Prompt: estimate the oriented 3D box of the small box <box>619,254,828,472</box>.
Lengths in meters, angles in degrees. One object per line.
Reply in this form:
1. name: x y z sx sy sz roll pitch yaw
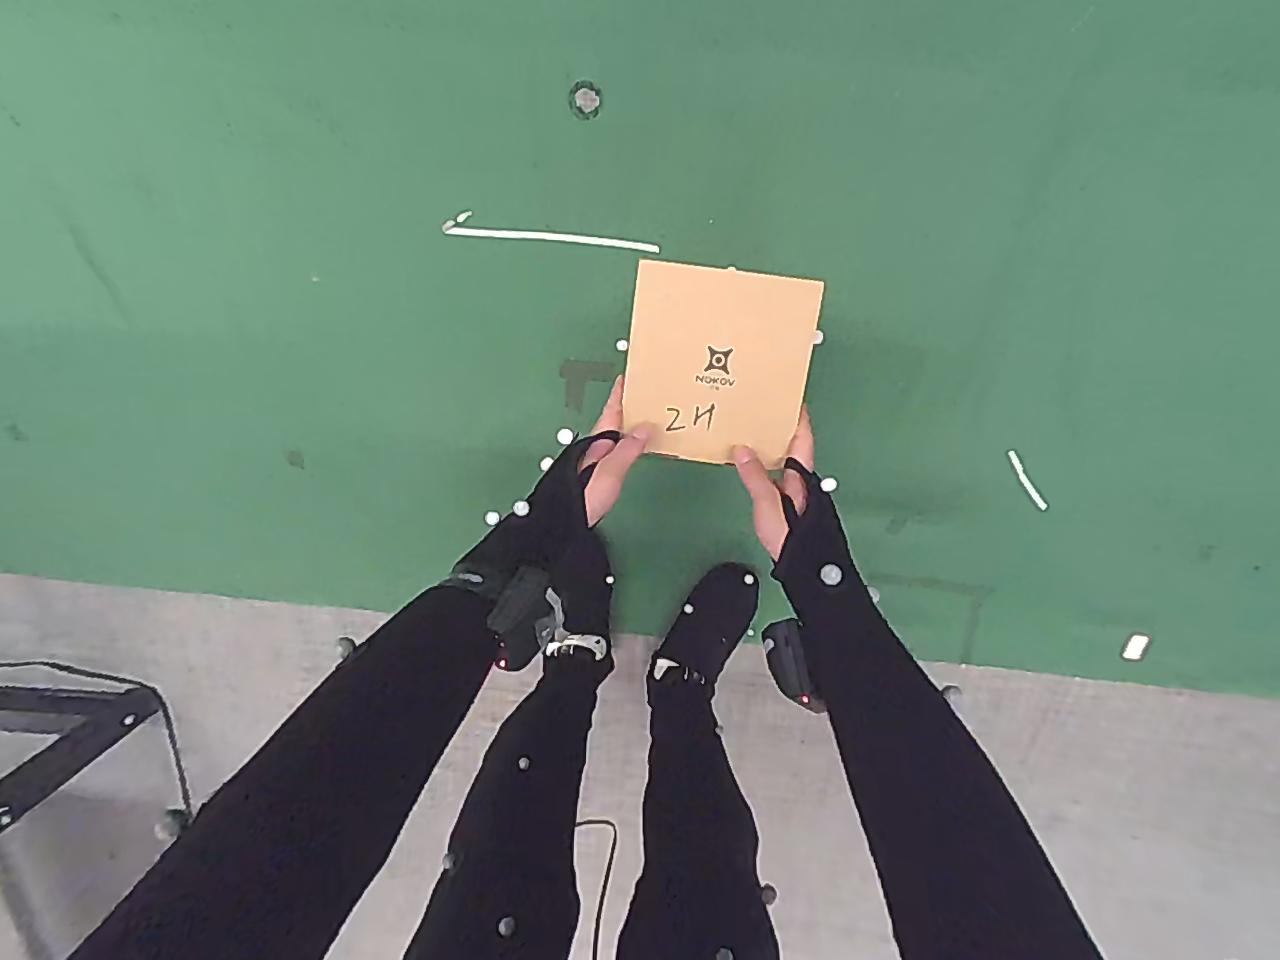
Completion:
1. small box: 0.076 -0.120 0.564 0.168 0.176 0.179 8 104 2
